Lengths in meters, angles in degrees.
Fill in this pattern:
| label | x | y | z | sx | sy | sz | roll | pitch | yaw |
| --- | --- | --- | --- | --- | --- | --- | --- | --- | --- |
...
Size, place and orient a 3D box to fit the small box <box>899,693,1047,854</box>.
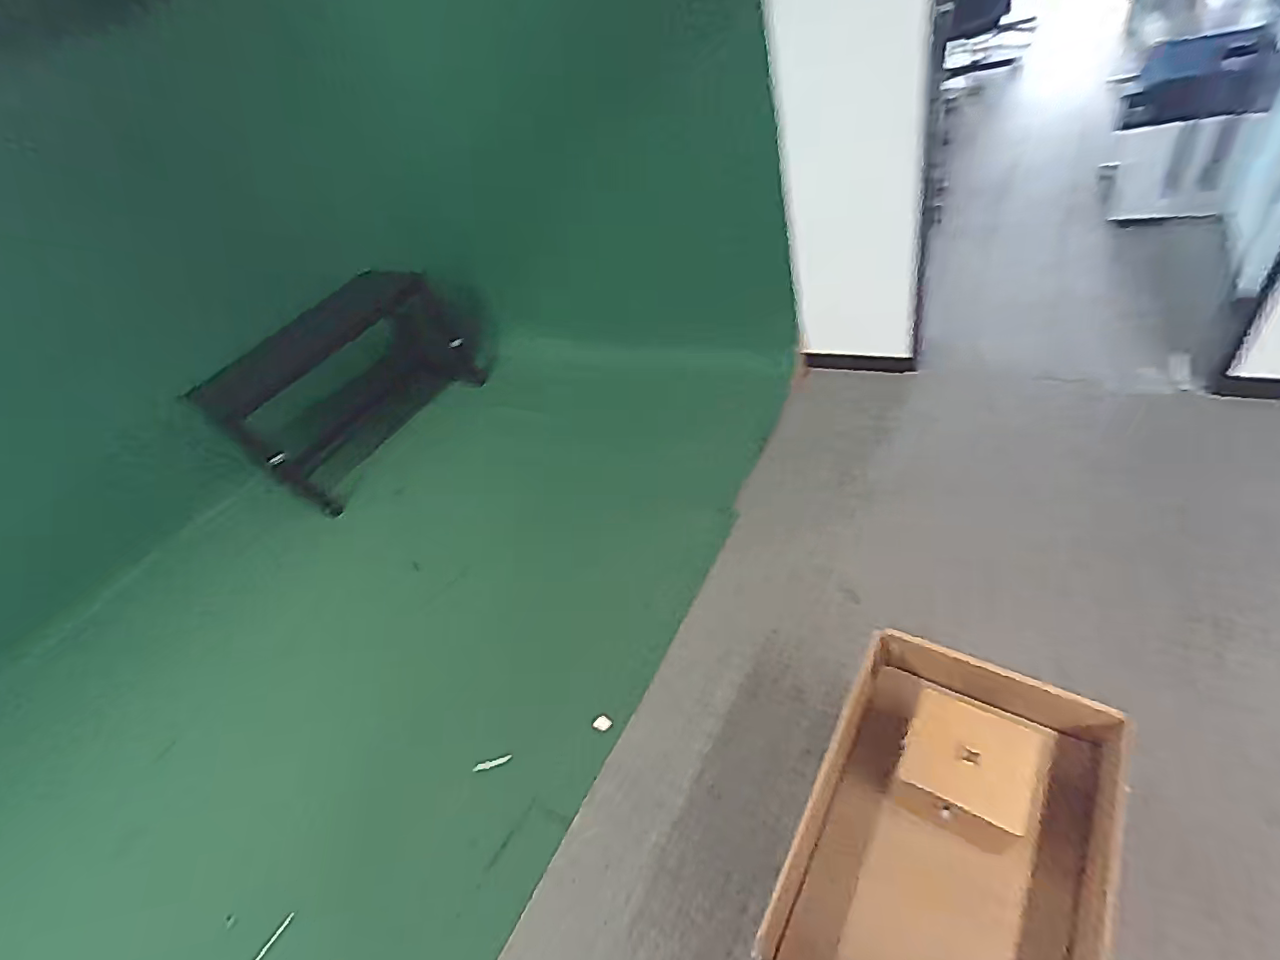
| label | x | y | z | sx | sy | sz | roll | pitch | yaw |
| --- | --- | --- | --- | --- | --- | --- | --- | --- | --- |
| small box | 0.562 | 0.505 | 0.927 | 0.179 | 0.176 | 0.168 | 16 | 55 | 34 |
